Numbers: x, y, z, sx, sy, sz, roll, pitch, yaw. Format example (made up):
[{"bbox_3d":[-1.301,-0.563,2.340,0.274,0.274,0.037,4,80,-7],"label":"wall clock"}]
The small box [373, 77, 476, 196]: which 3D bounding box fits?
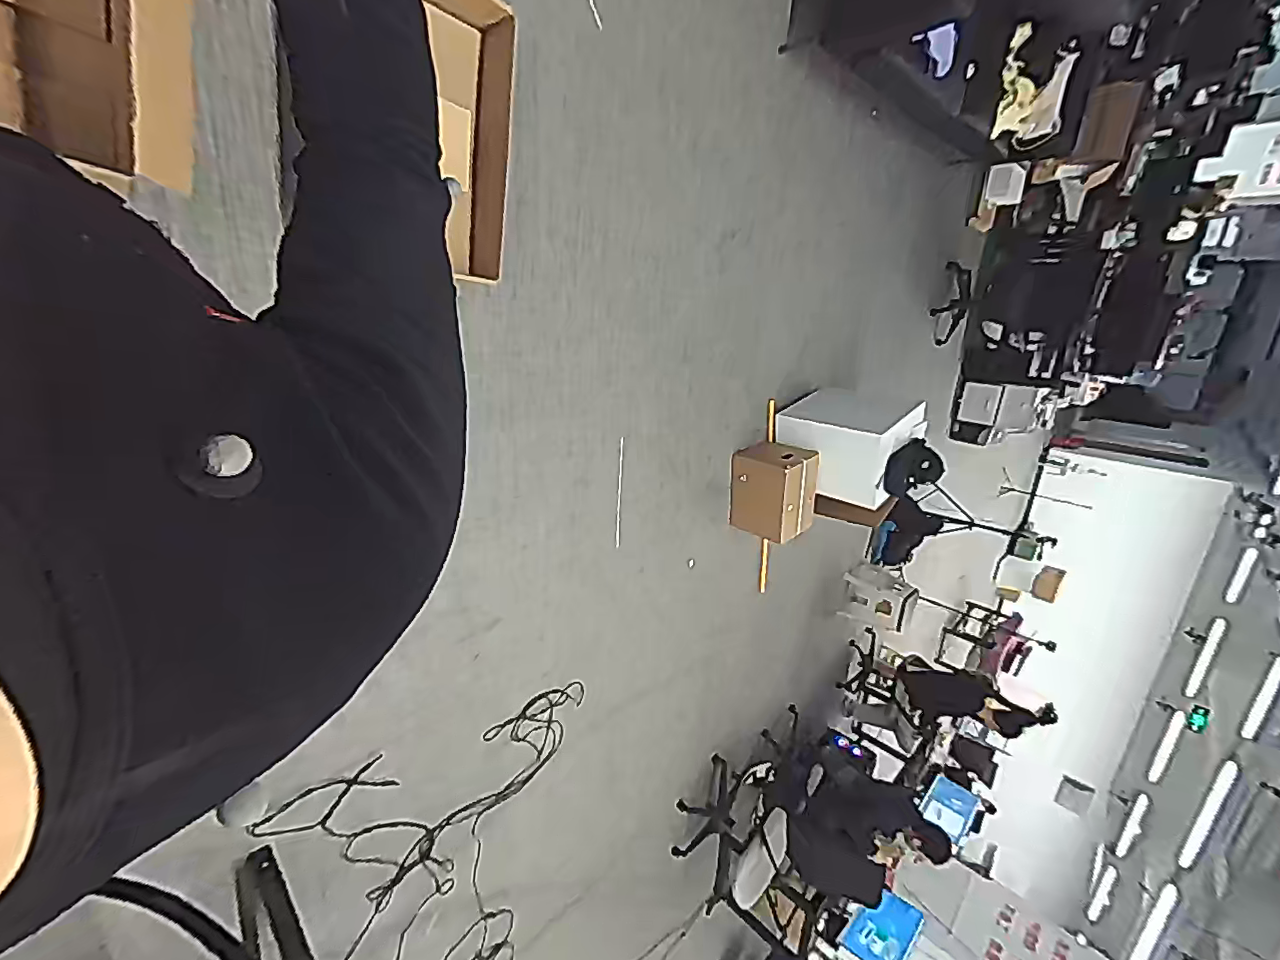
[{"bbox_3d":[-0.494,-0.769,1.233,0.168,0.176,0.179,-7,110,-46],"label":"small box"}]
